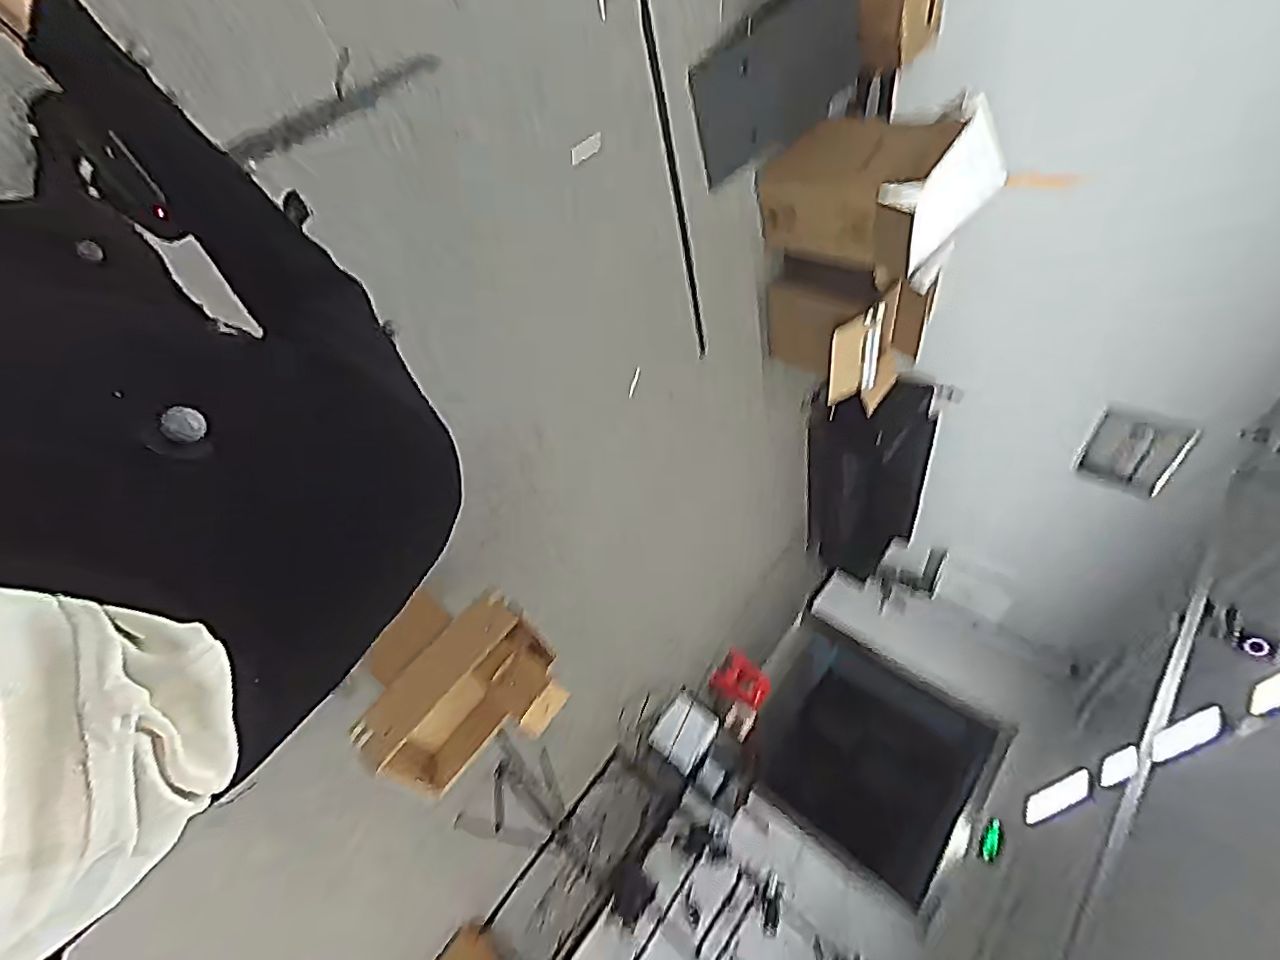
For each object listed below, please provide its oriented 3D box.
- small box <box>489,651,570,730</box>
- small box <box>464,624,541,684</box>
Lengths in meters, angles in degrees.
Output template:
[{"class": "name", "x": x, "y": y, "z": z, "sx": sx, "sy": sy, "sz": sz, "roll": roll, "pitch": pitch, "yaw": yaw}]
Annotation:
[{"class": "small box", "x": -0.370, "y": 0.705, "z": 1.822, "sx": 0.168, "sy": 0.176, "sz": 0.179, "roll": -49, "pitch": 145, "yaw": -20}, {"class": "small box", "x": -0.489, "y": 0.639, "z": 1.916, "sx": 0.168, "sy": 0.176, "sz": 0.179, "roll": -48, "pitch": 146, "yaw": -21}]
